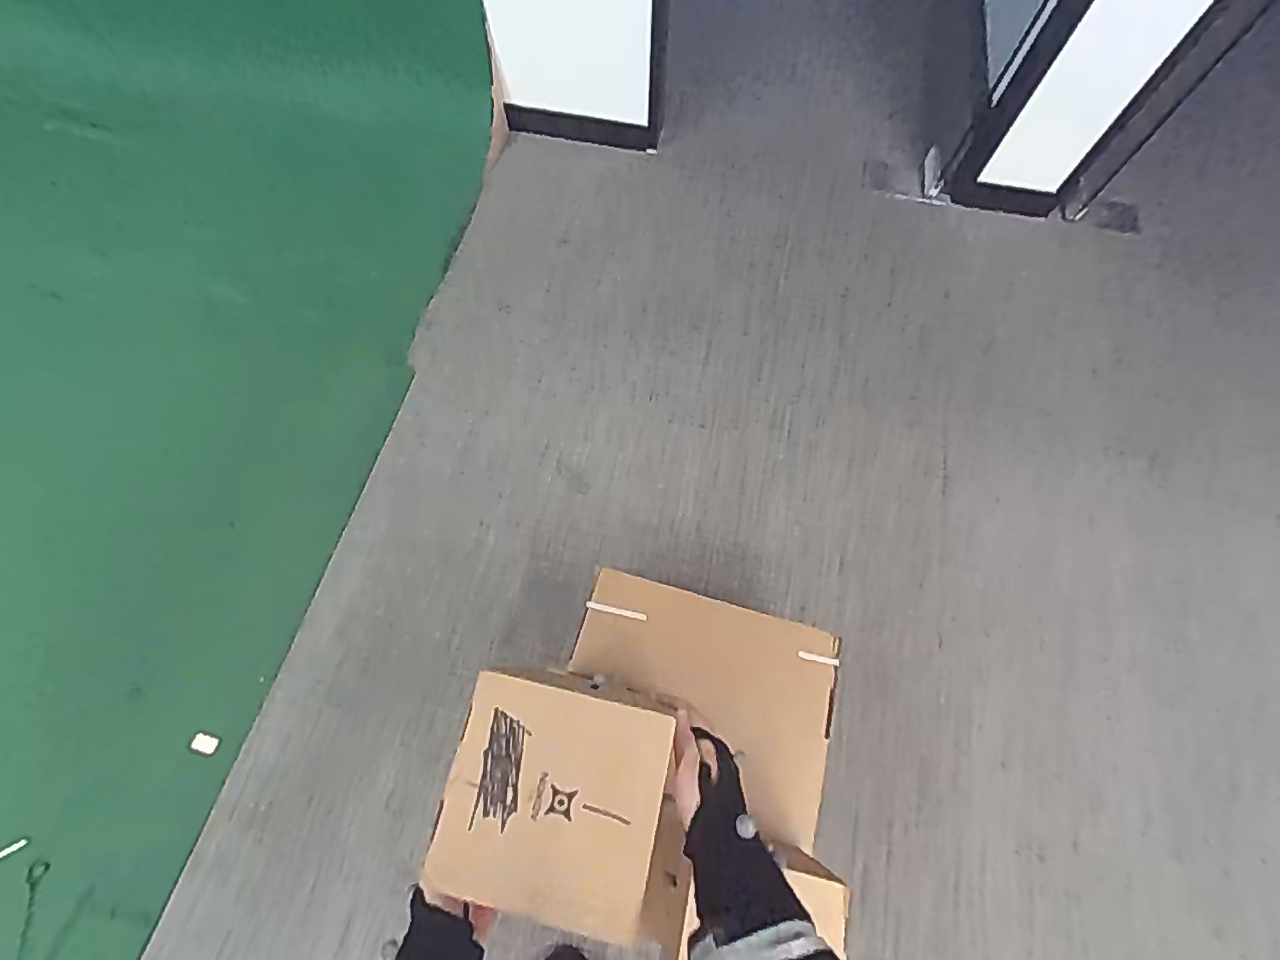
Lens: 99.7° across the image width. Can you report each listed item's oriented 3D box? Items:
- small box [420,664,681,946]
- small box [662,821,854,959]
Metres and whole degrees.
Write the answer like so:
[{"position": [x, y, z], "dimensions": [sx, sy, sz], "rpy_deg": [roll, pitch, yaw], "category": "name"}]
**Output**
[{"position": [-0.065, 0.276, 0.505], "dimensions": [0.179, 0.176, 0.168], "rpy_deg": [12, 73, 5], "category": "small box"}, {"position": [0.131, 0.527, 0.642], "dimensions": [0.179, 0.176, 0.168], "rpy_deg": [12, 66, 4], "category": "small box"}]
